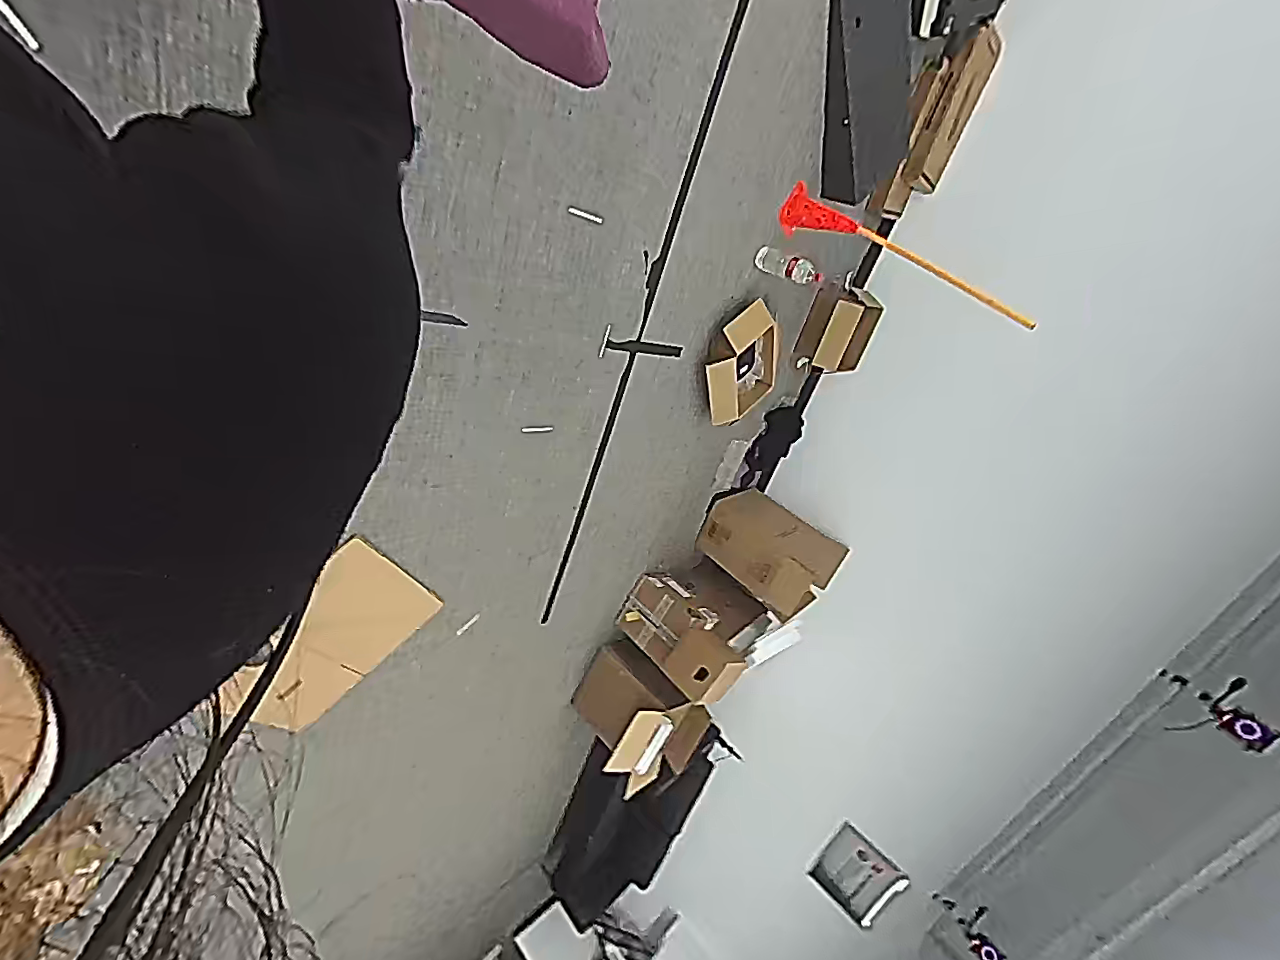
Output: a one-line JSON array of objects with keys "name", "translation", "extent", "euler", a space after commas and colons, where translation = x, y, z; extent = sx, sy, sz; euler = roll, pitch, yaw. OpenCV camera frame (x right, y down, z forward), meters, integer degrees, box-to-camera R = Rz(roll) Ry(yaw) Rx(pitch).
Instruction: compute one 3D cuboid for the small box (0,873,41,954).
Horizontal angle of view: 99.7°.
[{"name": "small box", "translation": [-1.447, 1.014, 1.183], "extent": [0.168, 0.176, 0.179], "euler": [-3, 123, -52]}]
